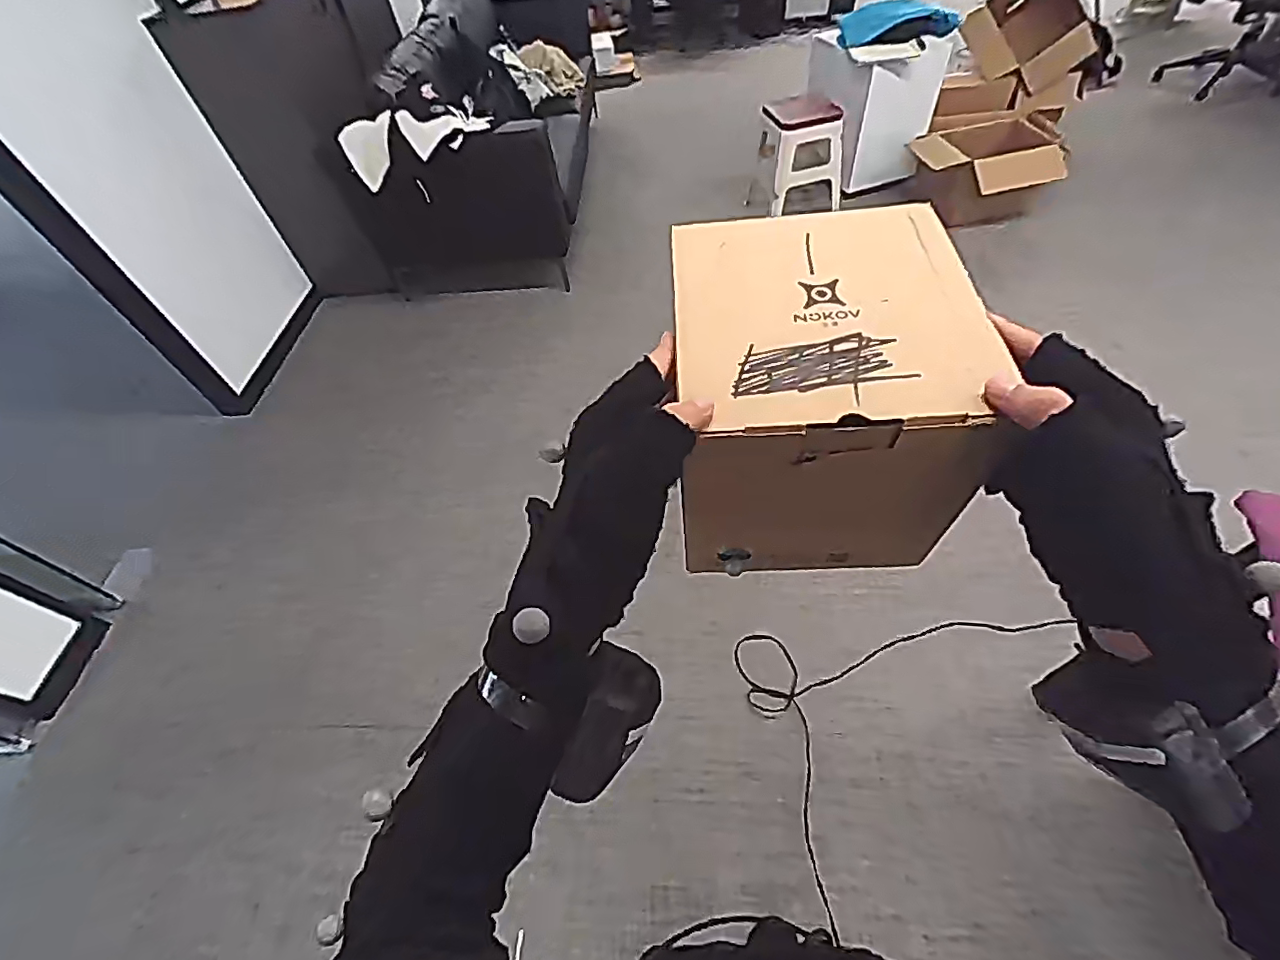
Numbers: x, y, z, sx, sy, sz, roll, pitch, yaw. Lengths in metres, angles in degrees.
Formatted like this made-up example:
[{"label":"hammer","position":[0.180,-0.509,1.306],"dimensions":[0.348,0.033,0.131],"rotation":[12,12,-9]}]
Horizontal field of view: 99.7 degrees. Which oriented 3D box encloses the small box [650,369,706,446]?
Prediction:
[{"label":"small box","position":[0.122,-0.227,1.708],"dimensions":[0.168,0.176,0.179],"rotation":[-2,51,6]}]
